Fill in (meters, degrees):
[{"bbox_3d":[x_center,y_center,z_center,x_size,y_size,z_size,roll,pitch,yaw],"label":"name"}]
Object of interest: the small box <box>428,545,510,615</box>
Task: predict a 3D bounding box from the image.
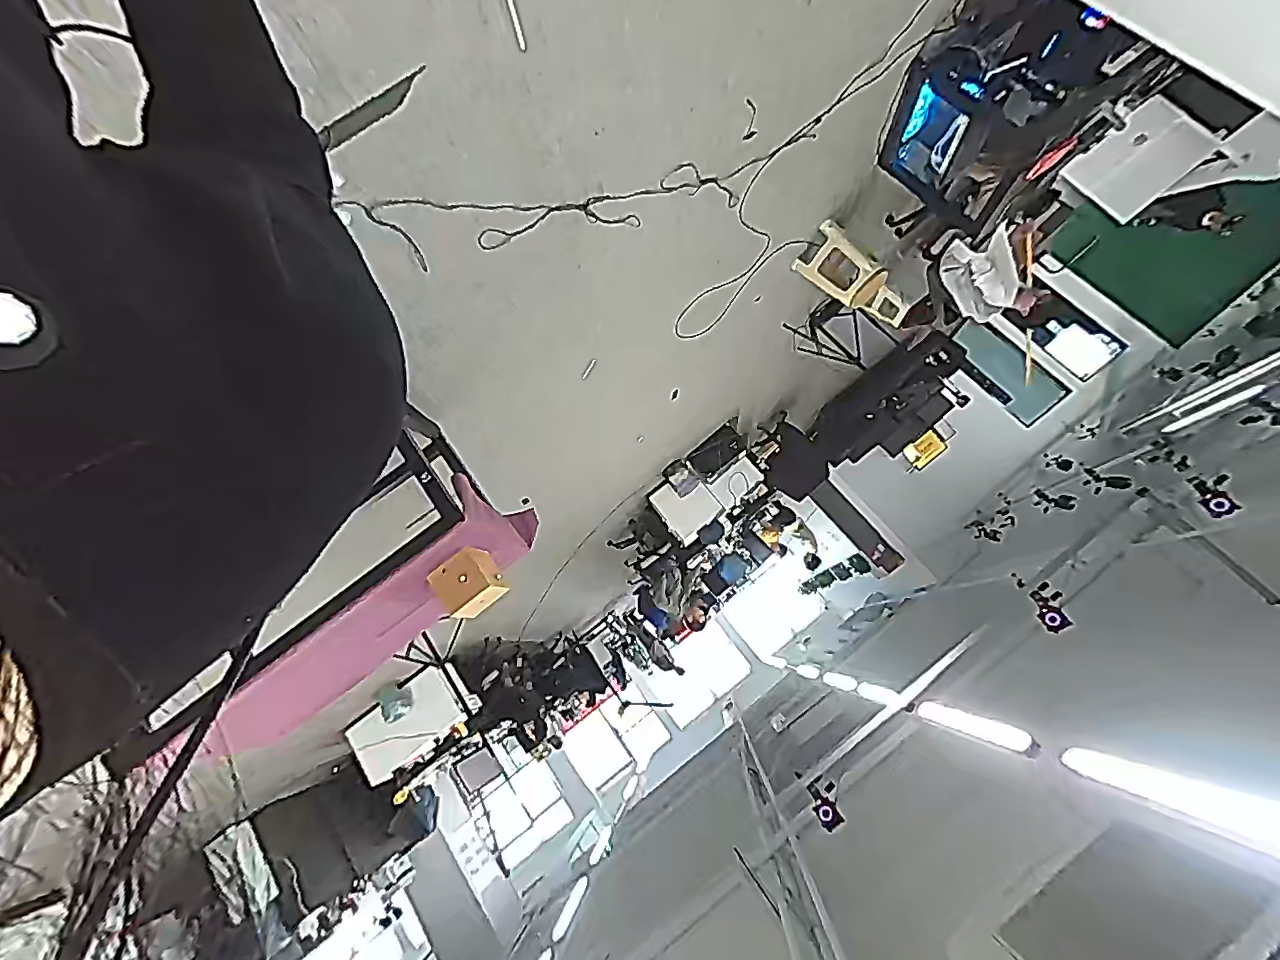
[{"bbox_3d":[-0.579,0.338,1.829,0.168,0.176,0.179,-38,164,-2],"label":"small box"}]
